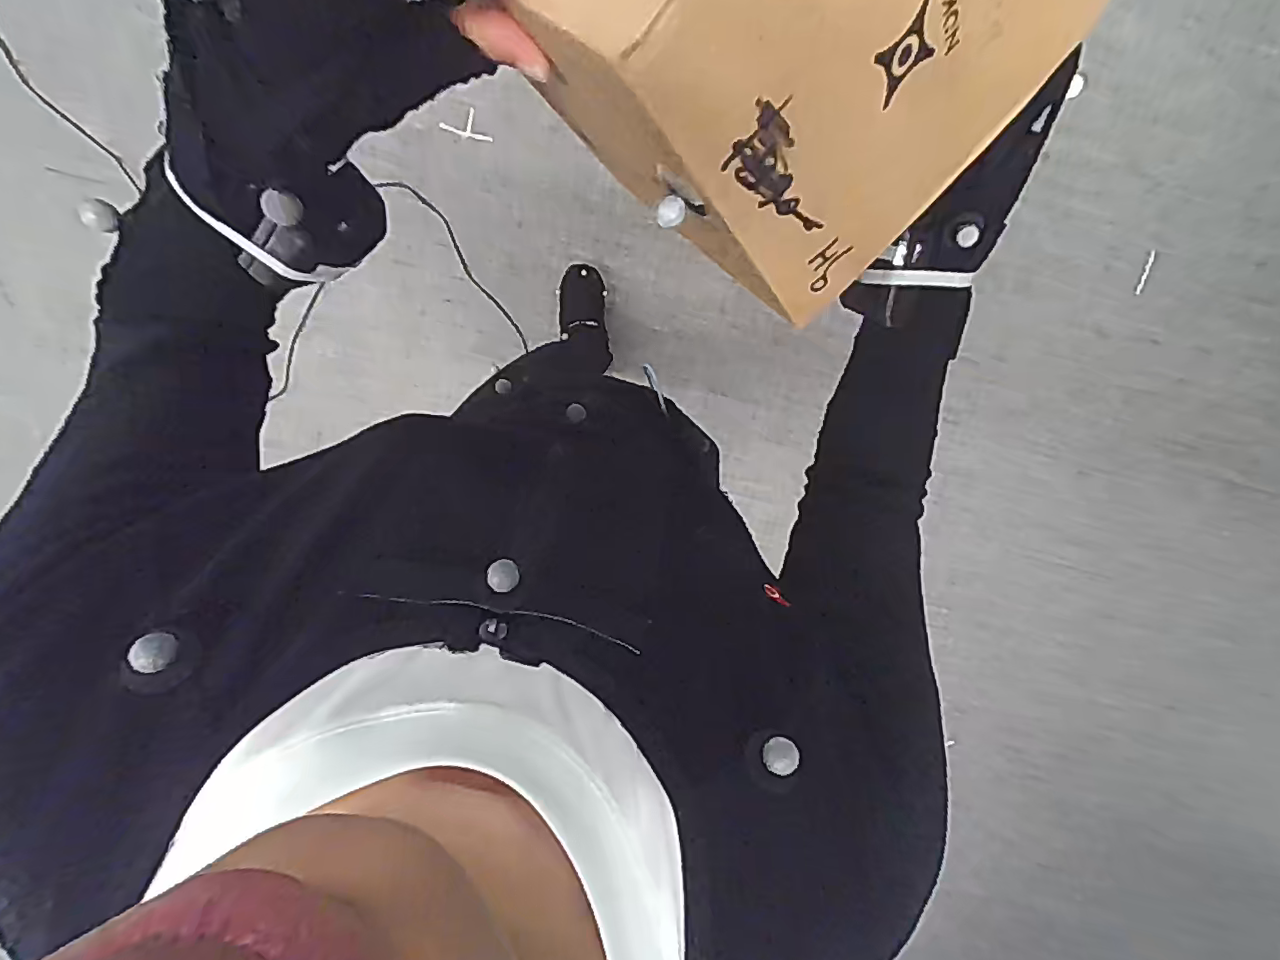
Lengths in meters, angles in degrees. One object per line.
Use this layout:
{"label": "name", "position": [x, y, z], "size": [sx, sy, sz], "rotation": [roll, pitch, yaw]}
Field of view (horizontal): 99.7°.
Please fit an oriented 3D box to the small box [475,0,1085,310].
{"label": "small box", "position": [0.053, -0.217, 0.230], "size": [0.179, 0.168, 0.176], "rotation": [-47, 59, 15]}
